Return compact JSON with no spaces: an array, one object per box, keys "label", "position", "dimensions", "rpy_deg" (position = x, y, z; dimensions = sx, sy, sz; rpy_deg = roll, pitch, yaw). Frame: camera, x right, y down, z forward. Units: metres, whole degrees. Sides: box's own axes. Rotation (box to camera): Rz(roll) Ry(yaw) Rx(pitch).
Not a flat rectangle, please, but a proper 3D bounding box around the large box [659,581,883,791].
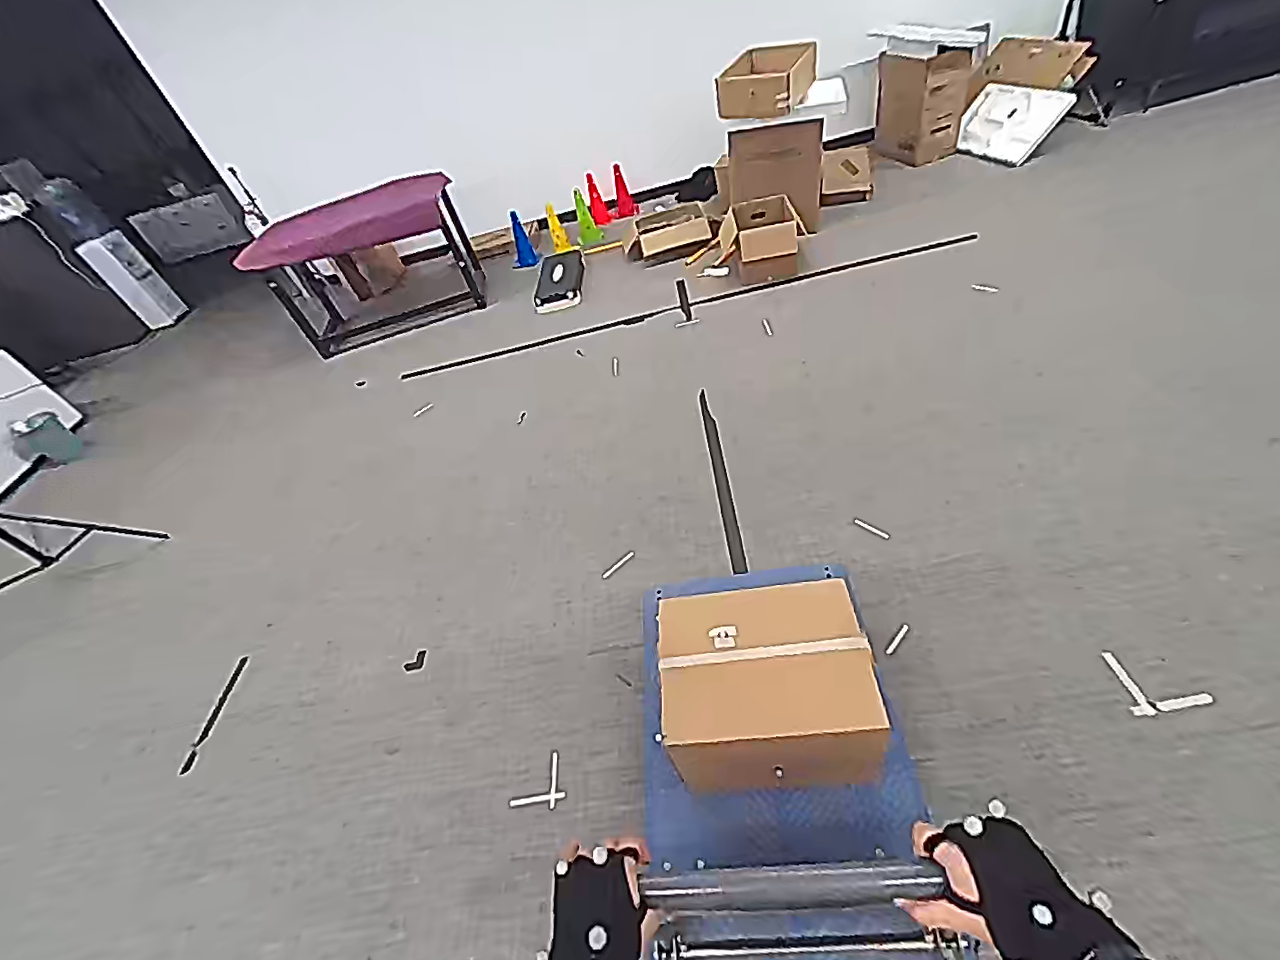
[{"label":"large box","position":[0.273,0.460,1.190],"dimensions":[0.408,0.320,0.320],"rpy_deg":[-10,43,10]}]
